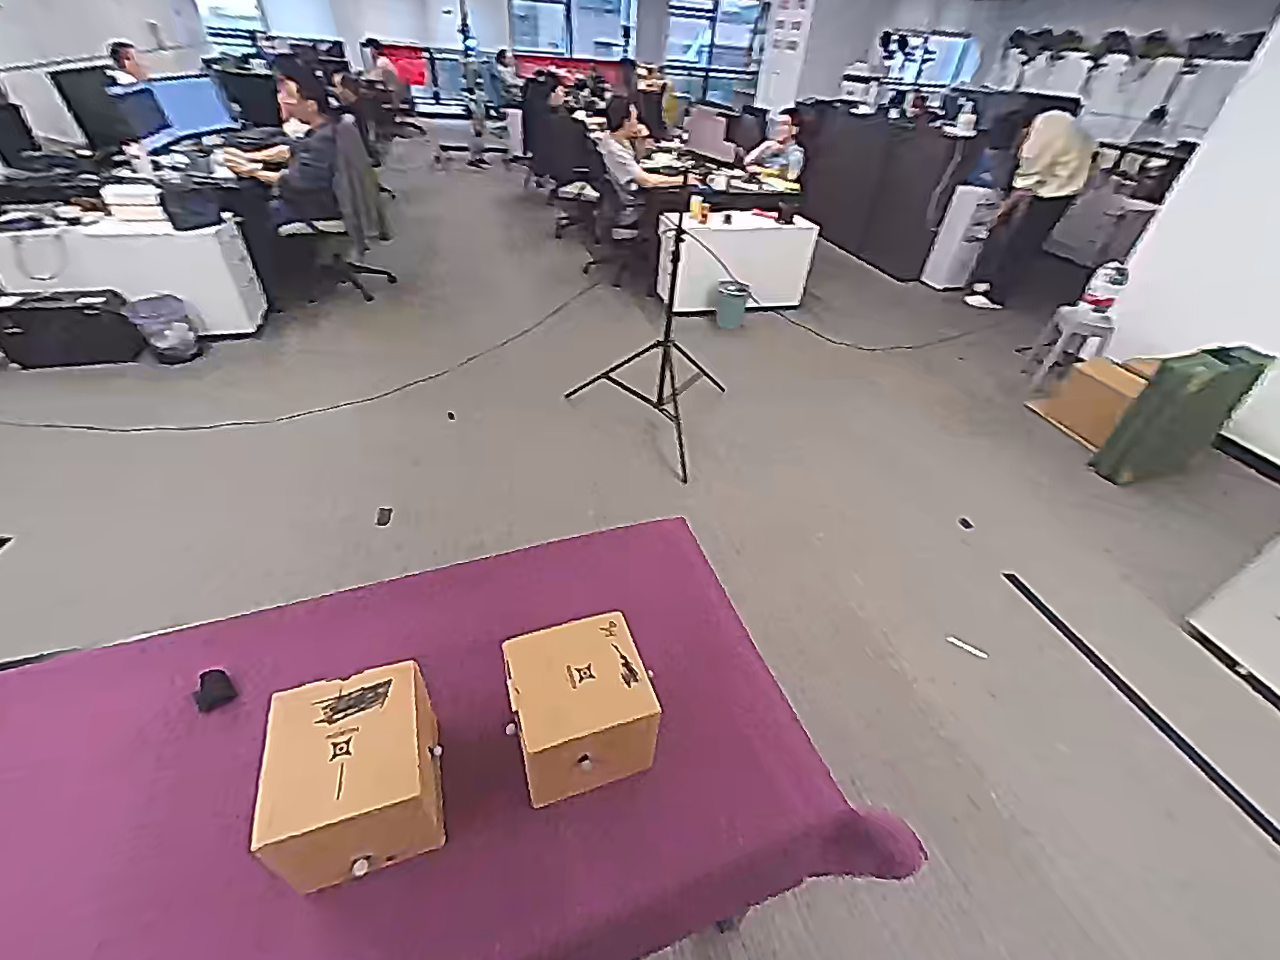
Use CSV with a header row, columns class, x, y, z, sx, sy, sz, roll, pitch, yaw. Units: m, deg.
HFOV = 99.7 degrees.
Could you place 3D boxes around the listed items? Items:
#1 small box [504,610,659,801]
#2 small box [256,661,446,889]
class,x,y,z,sx,sy,sz,roll,pitch,yaw
small box,-0.084,0.319,0.768,0.179,0.176,0.168,-11,41,-17
small box,-0.346,0.367,0.681,0.168,0.176,0.179,-10,42,-17
